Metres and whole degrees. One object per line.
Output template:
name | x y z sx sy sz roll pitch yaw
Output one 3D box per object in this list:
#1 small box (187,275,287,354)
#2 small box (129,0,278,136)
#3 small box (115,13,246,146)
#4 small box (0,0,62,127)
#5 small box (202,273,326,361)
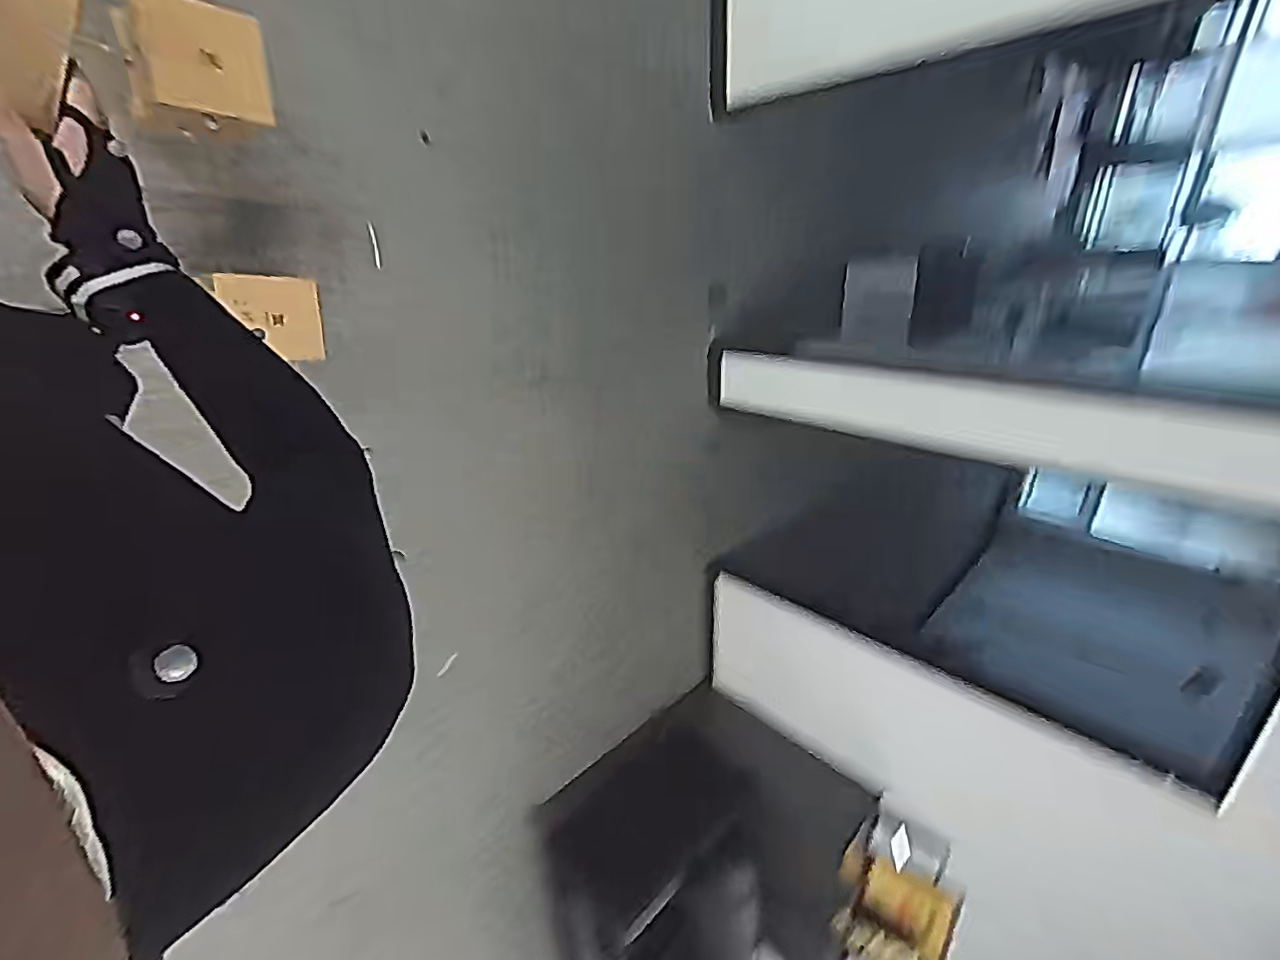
small box | -0.918 -0.386 1.251 0.179 0.176 0.168 -18 118 -40
small box | -0.799 -0.749 0.992 0.179 0.176 0.168 -15 117 -42
small box | -0.934 -0.797 1.100 0.179 0.176 0.168 -16 117 -43
small box | -0.573 -0.390 0.401 0.179 0.176 0.168 5 104 -57
small box | -0.796 -0.346 1.147 0.179 0.176 0.168 -14 114 -43
